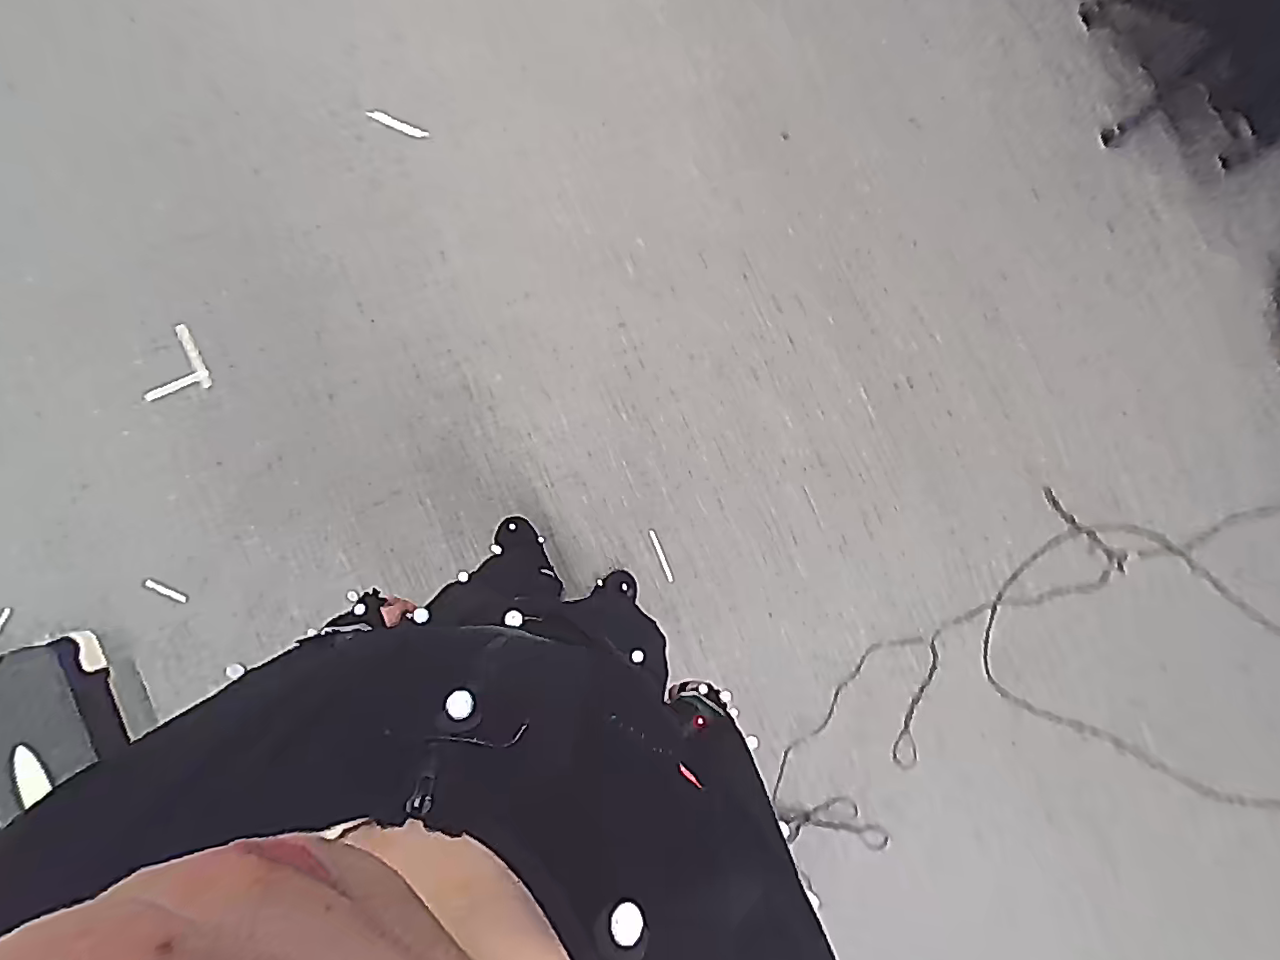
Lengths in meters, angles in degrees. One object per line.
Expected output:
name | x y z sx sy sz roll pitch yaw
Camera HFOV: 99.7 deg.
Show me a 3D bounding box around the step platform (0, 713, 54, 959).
step platform | -1.561 0.841 1.158 0.286 0.204 0.684 -18 85 -5
